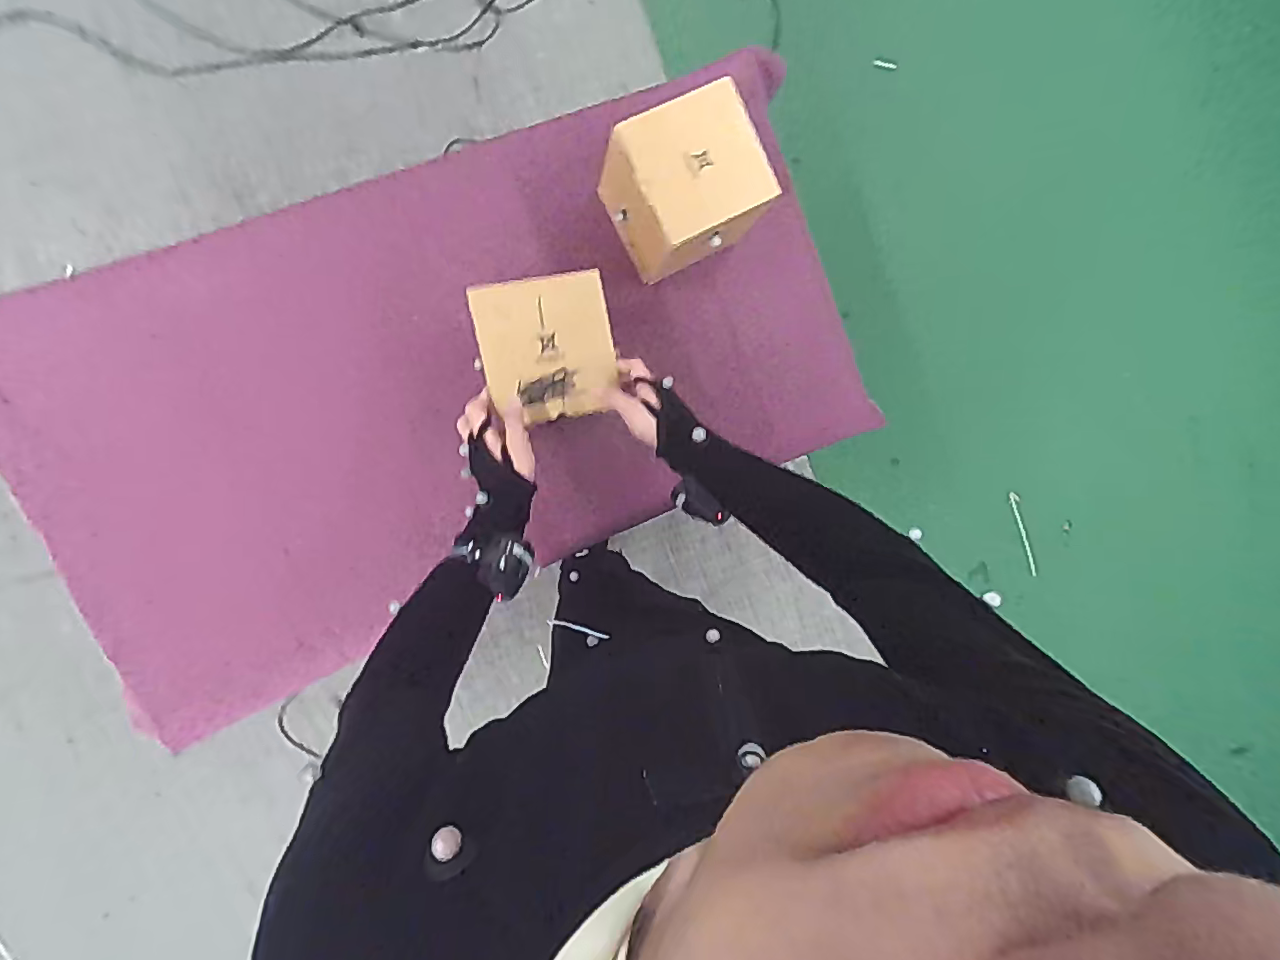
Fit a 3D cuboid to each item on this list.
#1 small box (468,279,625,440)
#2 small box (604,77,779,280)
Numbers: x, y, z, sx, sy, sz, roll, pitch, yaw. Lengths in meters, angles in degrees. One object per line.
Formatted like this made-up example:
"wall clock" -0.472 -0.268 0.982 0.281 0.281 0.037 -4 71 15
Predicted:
"small box" -0.126 -0.159 0.747 0.168 0.176 0.179 -13 98 -10
"small box" 0.063 -0.418 0.778 0.179 0.176 0.168 -29 98 -6
